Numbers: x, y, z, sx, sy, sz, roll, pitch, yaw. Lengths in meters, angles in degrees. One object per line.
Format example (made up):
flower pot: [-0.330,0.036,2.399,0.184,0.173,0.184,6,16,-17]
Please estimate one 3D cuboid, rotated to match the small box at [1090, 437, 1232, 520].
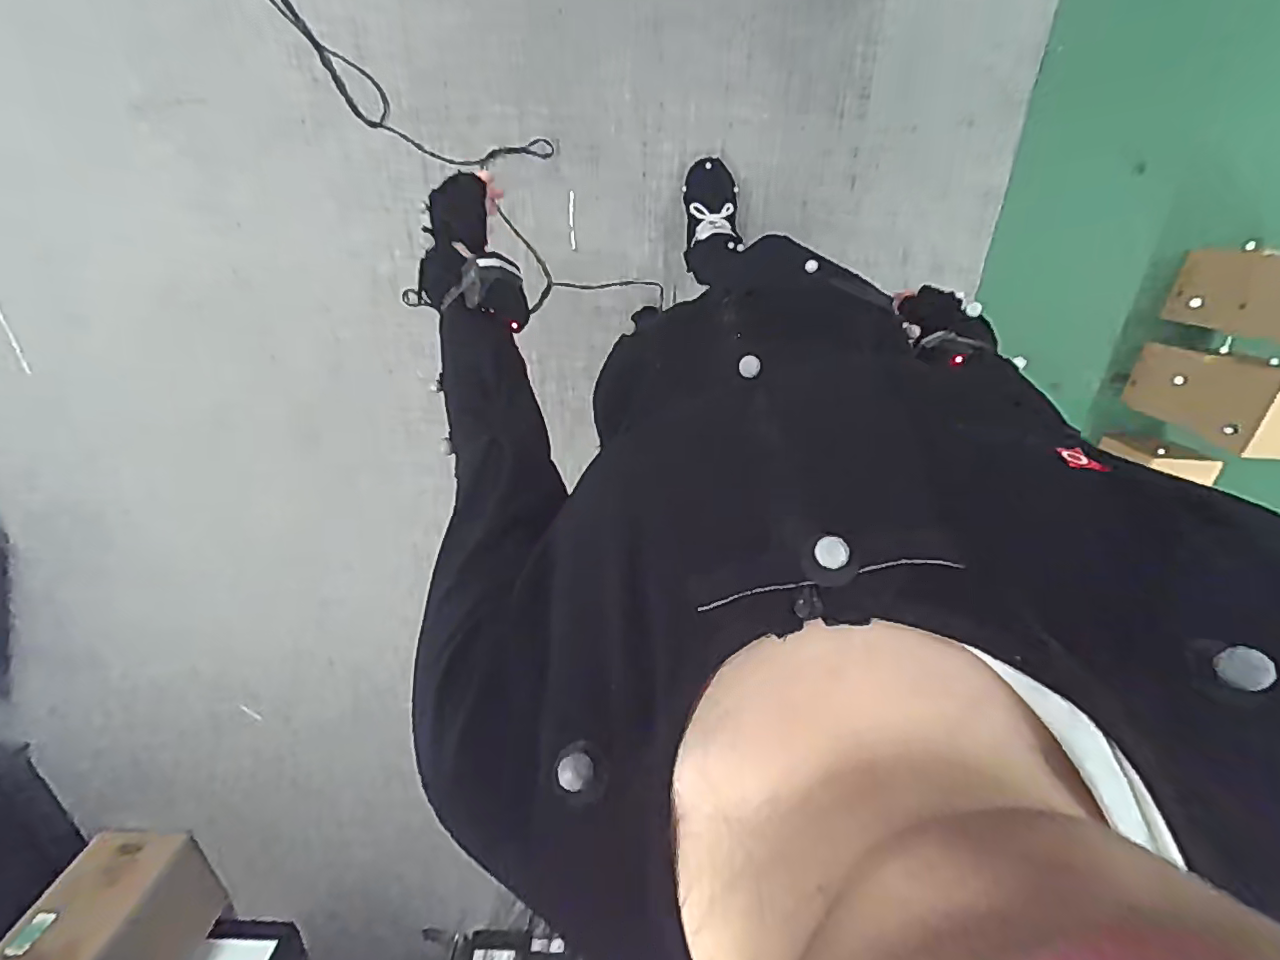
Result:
small box: [1.360,-0.008,1.426,0.179,0.176,0.168,2,116,2]
